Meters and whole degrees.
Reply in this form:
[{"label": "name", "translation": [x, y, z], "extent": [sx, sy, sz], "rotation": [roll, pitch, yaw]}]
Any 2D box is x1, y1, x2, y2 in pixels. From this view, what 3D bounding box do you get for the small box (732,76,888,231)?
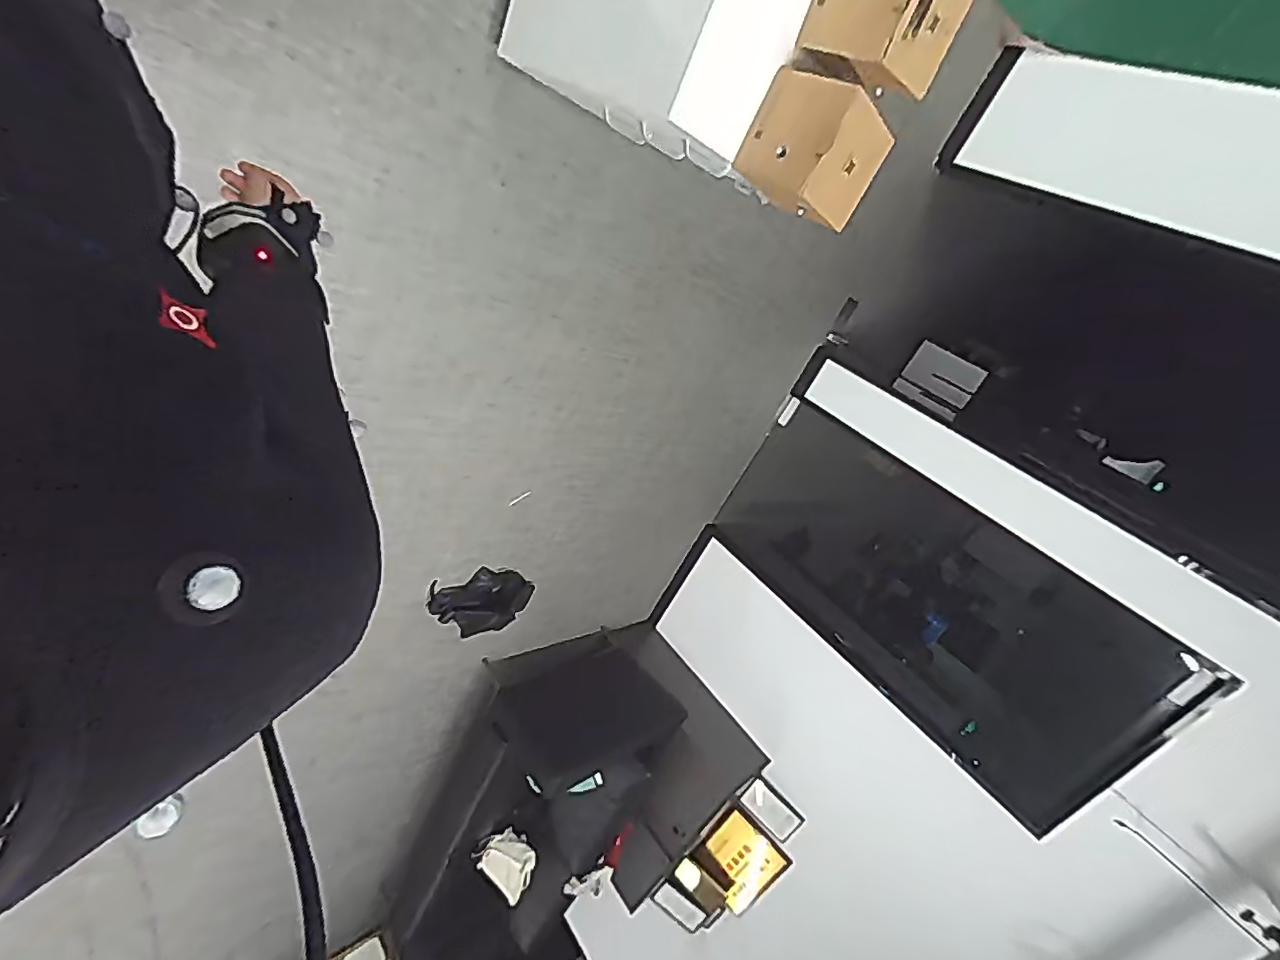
[{"label": "small box", "translation": [0.295, -0.575, 0.955], "extent": [0.179, 0.176, 0.168], "rotation": [-1, 127, -50]}]
